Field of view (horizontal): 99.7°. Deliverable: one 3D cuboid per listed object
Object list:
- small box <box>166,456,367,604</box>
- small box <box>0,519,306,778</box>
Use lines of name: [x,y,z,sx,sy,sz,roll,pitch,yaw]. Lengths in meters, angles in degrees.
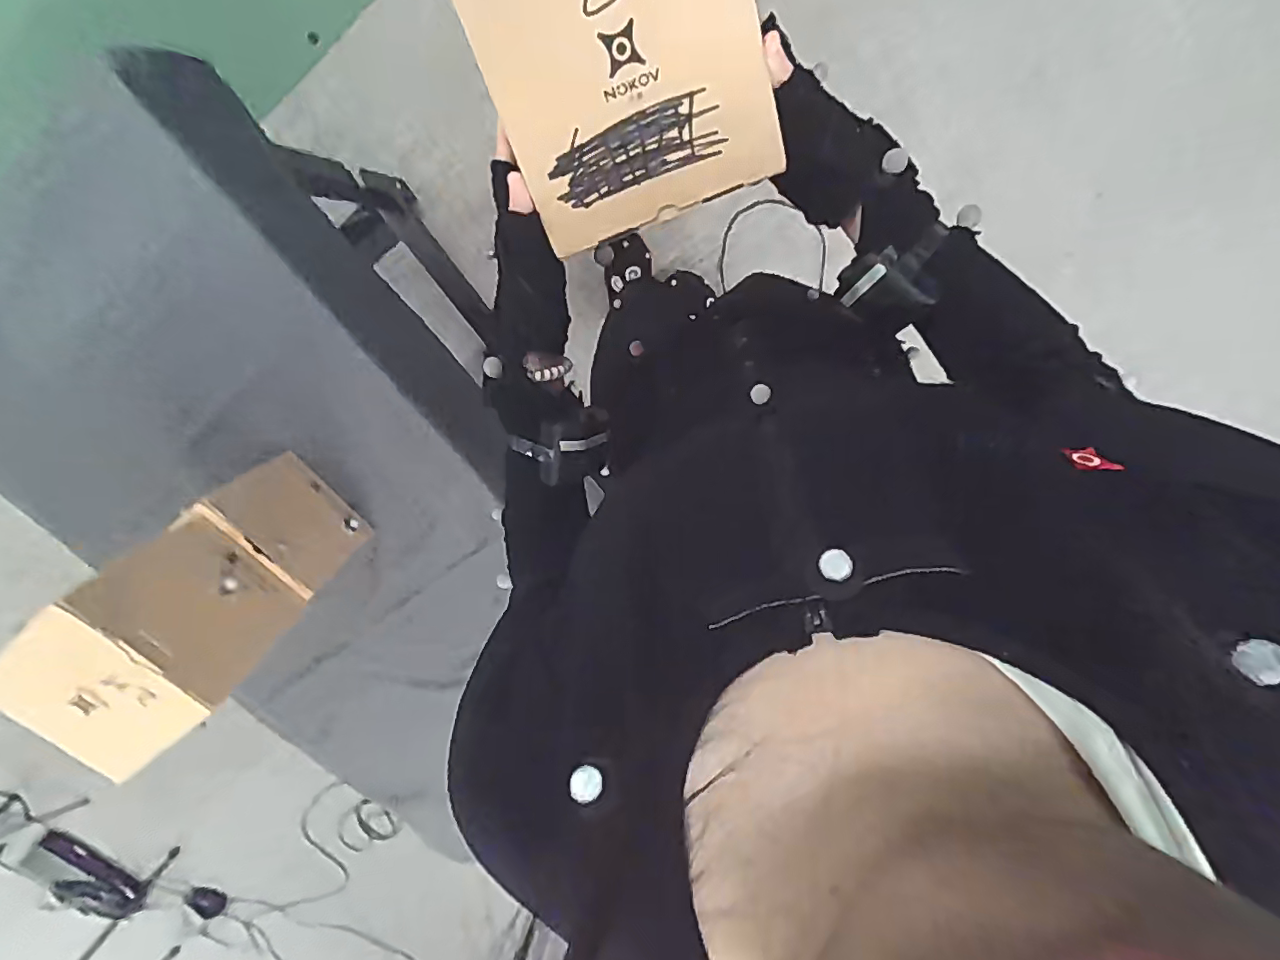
small box: [-0.512,0.094,0.741,0.179,0.176,0.168,-34,108,16]
small box: [-0.522,0.177,0.598,0.179,0.176,0.168,-36,108,15]
